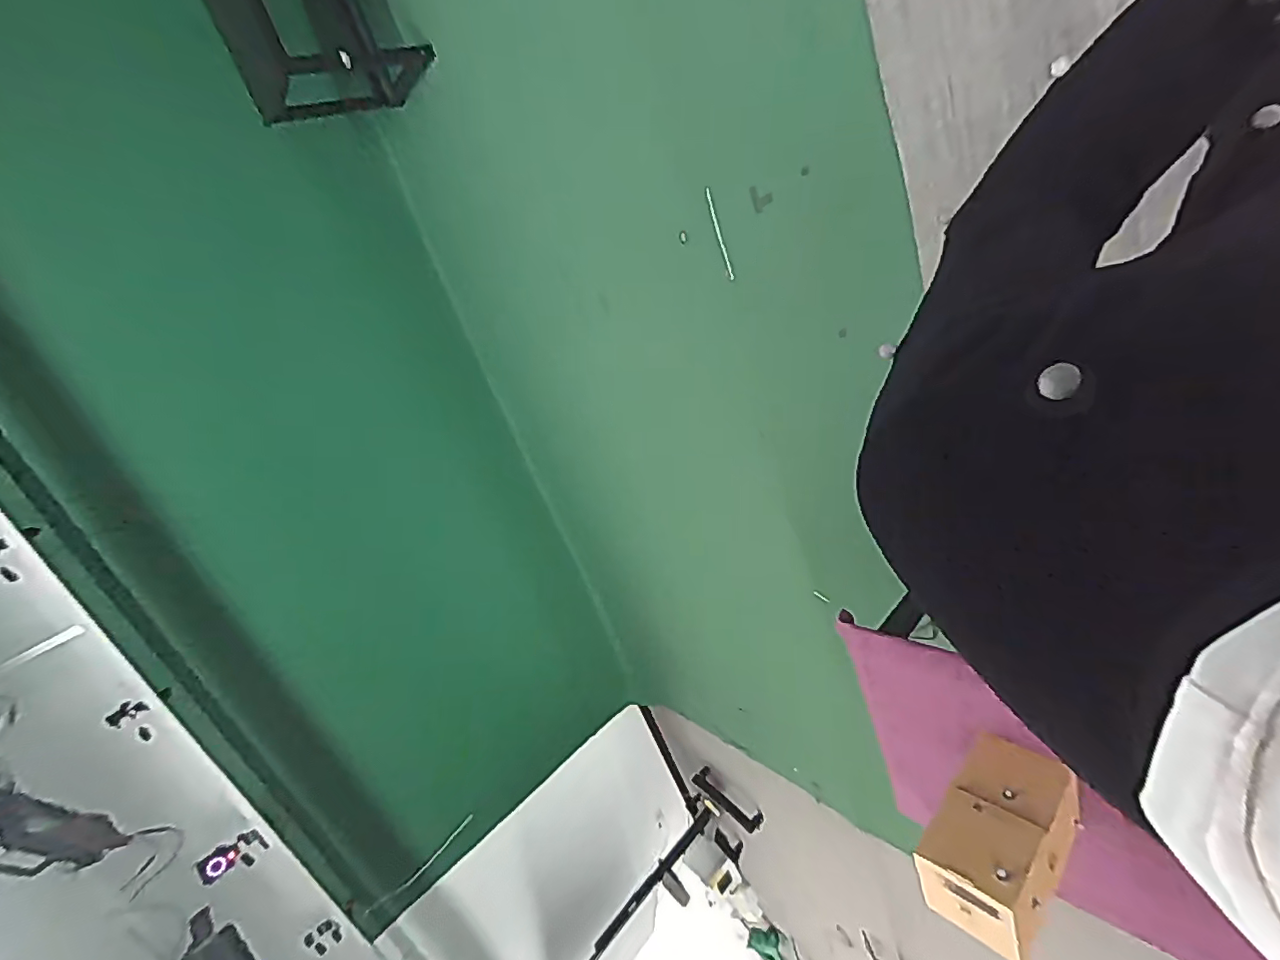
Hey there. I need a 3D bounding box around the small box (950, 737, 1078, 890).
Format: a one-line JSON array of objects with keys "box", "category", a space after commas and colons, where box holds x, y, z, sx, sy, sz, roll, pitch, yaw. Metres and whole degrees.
[{"box": [0.774, 0.670, 1.112, 0.179, 0.176, 0.168, 7, 123, 52], "category": "small box"}]
